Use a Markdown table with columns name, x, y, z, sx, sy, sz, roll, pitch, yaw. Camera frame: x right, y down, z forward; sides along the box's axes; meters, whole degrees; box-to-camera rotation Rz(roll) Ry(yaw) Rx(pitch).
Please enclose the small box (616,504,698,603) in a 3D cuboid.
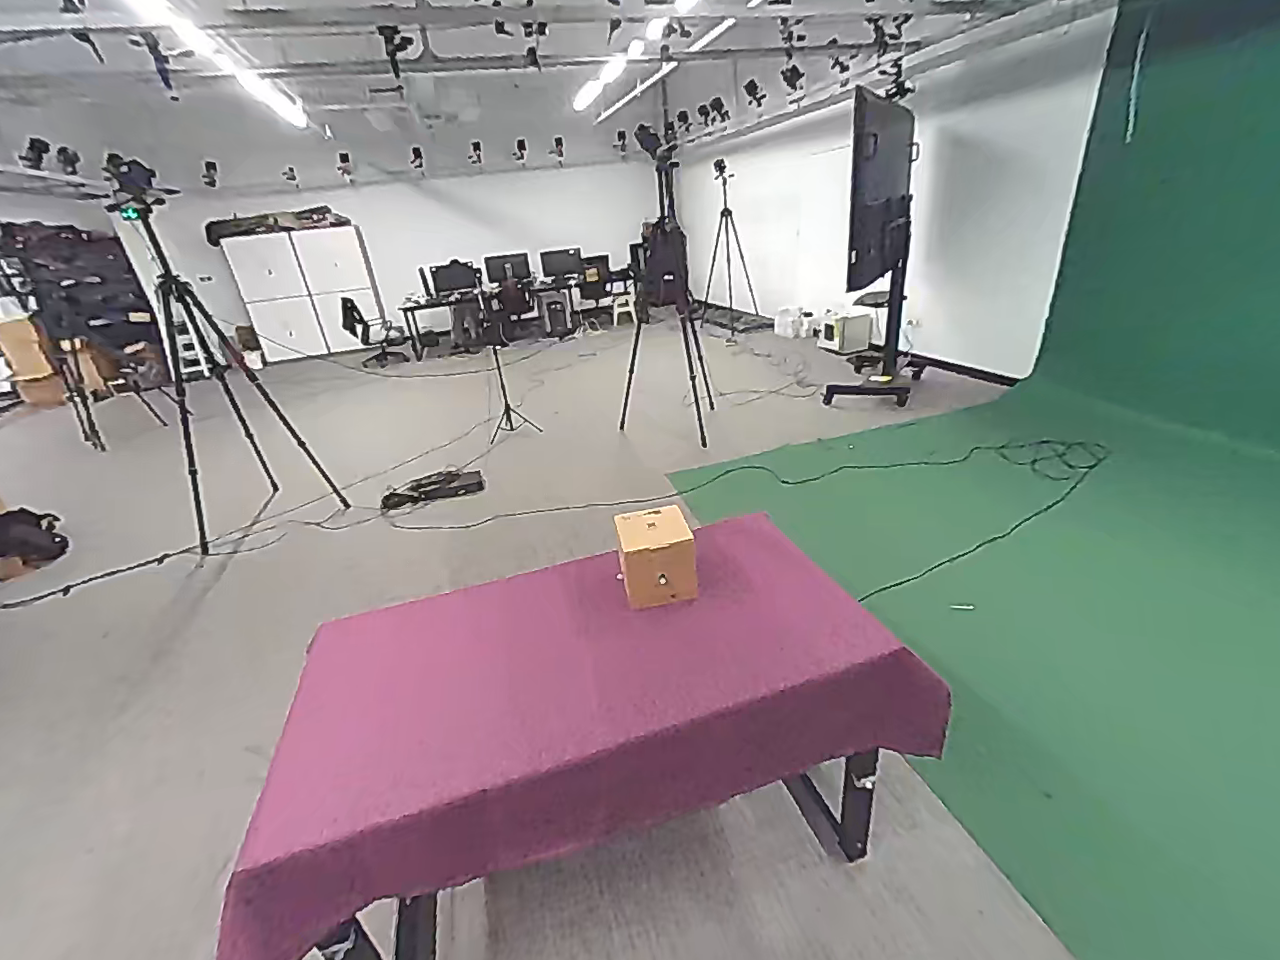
| name | x | y | z | sx | sy | sz | roll | pitch | yaw |
| --- | --- | --- | --- | --- | --- | --- | --- | --- | --- |
| small box | 0.041 | 0.183 | 1.320 | 0.168 | 0.176 | 0.179 | -10 | 27 | -6 |
